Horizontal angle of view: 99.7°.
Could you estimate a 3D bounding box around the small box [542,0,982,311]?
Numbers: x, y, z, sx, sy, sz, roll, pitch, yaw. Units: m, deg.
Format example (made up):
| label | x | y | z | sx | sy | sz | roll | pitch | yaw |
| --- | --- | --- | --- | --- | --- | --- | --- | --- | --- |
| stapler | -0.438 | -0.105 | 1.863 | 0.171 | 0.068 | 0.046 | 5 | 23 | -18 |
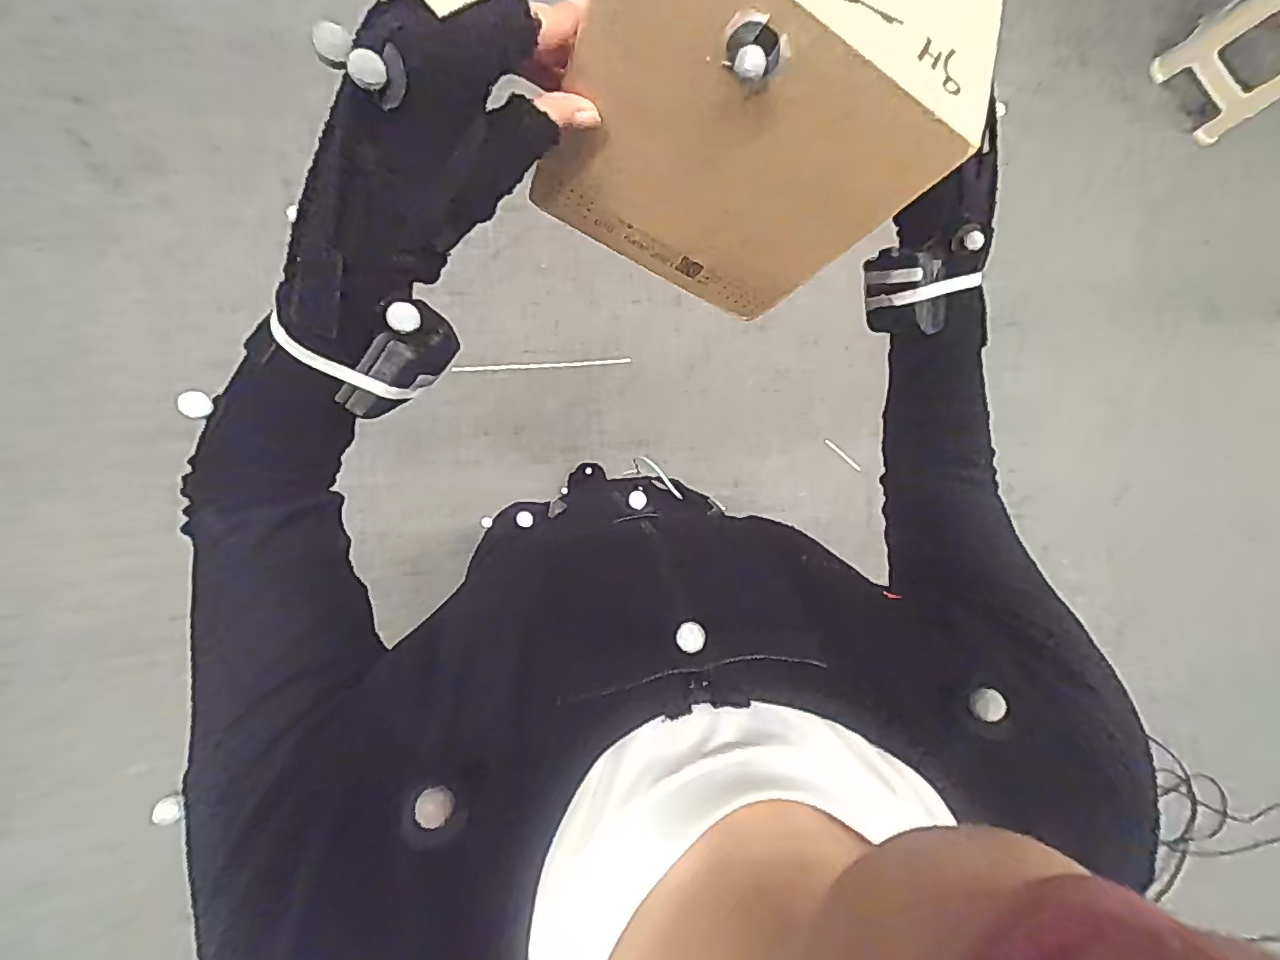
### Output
| label | x | y | z | sx | sy | sz | roll | pitch | yaw |
| --- | --- | --- | --- | --- | --- | --- | --- | --- | --- |
| small box | 0.059 | -0.236 | 0.308 | 0.168 | 0.176 | 0.179 | 23 | 71 | -17 |
